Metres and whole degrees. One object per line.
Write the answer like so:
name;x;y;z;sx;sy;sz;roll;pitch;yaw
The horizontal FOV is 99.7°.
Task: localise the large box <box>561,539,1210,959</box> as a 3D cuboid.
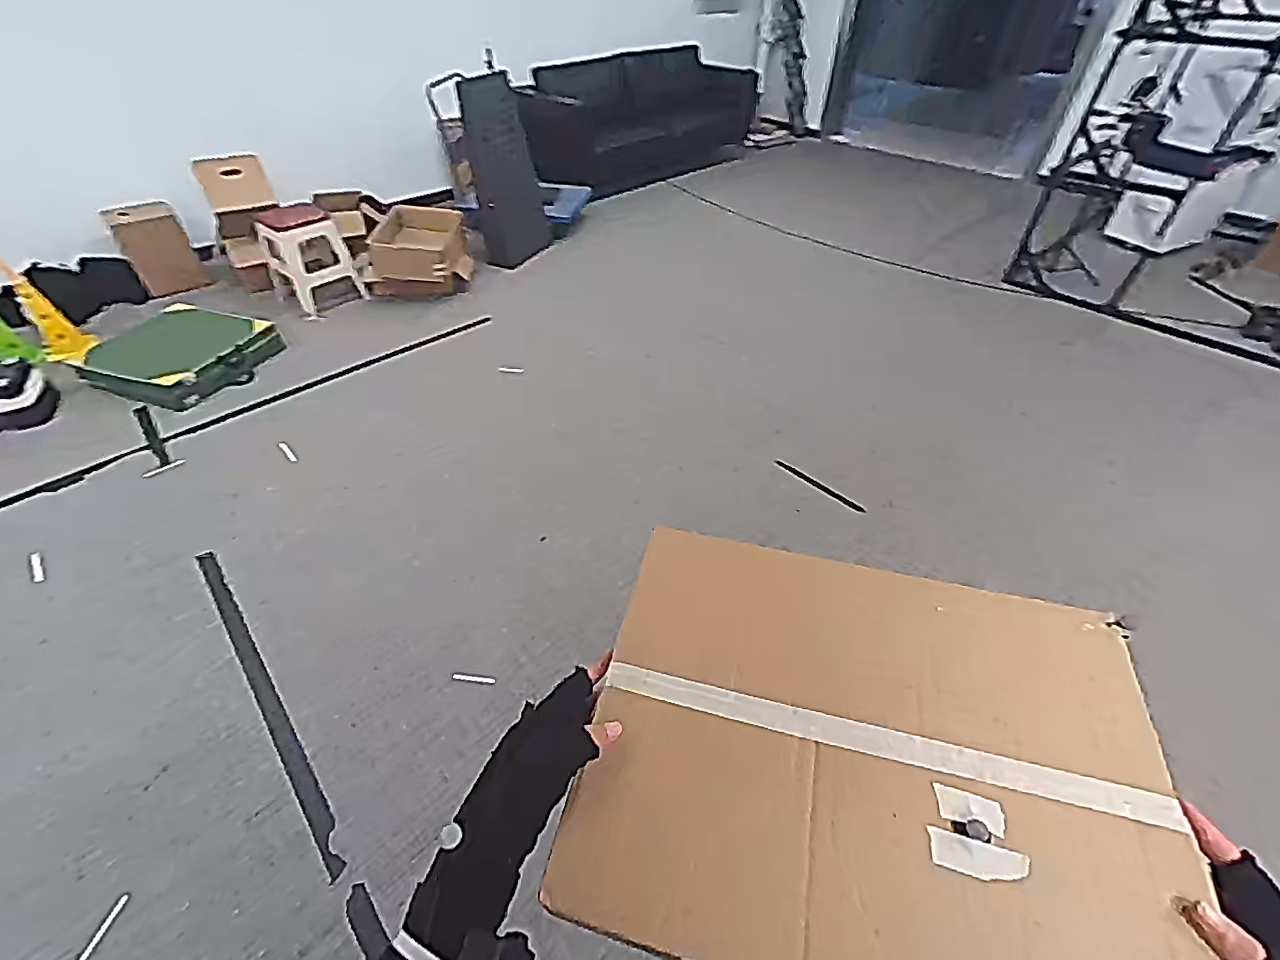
large box;0.178;0.300;0.529;0.408;0.320;0.320;10;49;12
